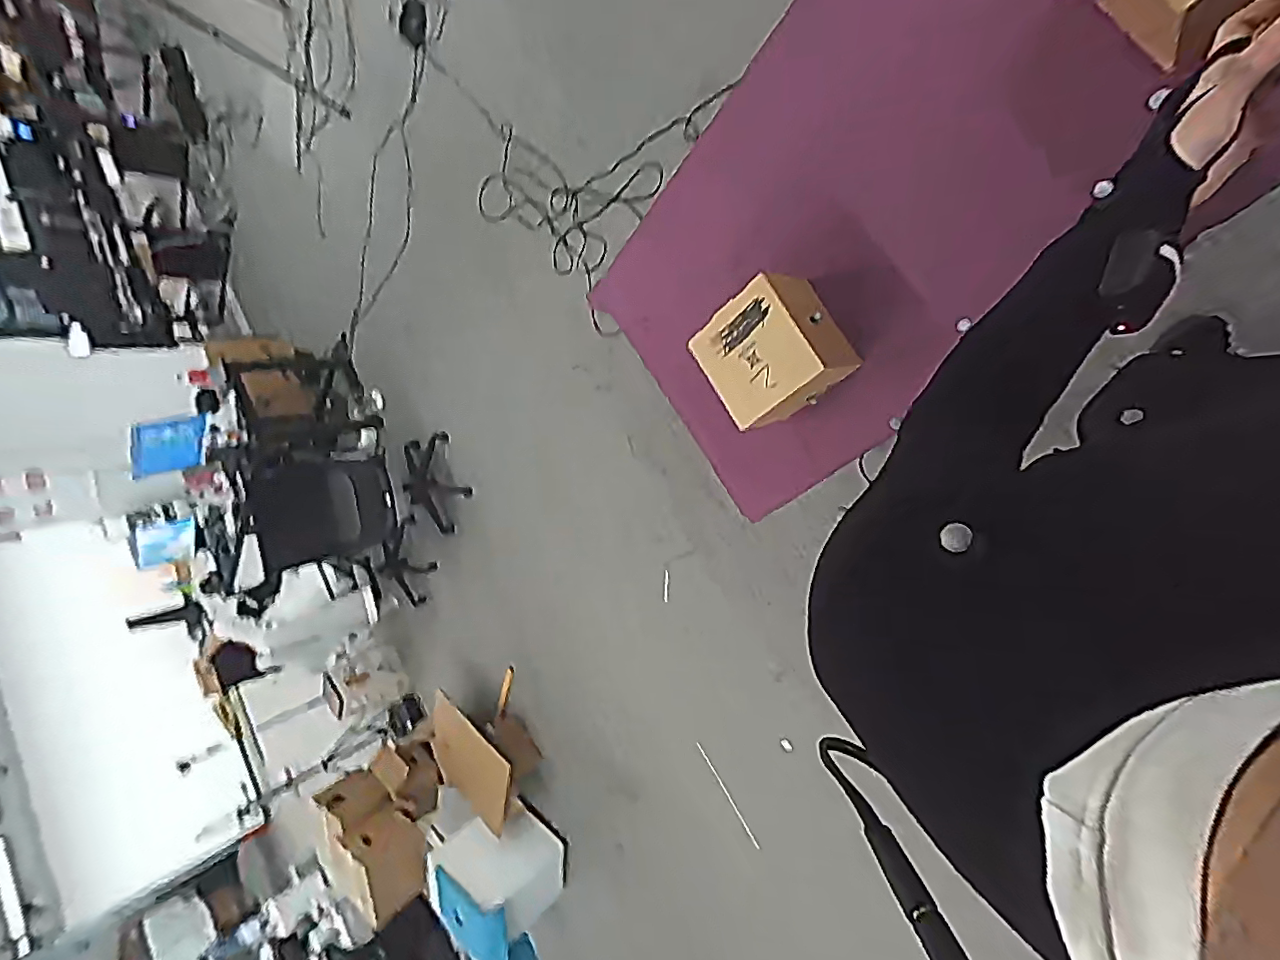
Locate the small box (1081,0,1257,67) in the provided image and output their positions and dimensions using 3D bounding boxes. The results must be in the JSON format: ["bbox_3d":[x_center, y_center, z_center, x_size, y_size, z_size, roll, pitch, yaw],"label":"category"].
[{"bbox_3d":[0.541,-0.553,0.521,0.168,0.176,0.179,-40,75,41],"label":"small box"}]

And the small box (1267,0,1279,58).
[{"bbox_3d":[0.522,-0.374,0.318,0.168,0.176,0.179,17,122,43],"label":"small box"}]
